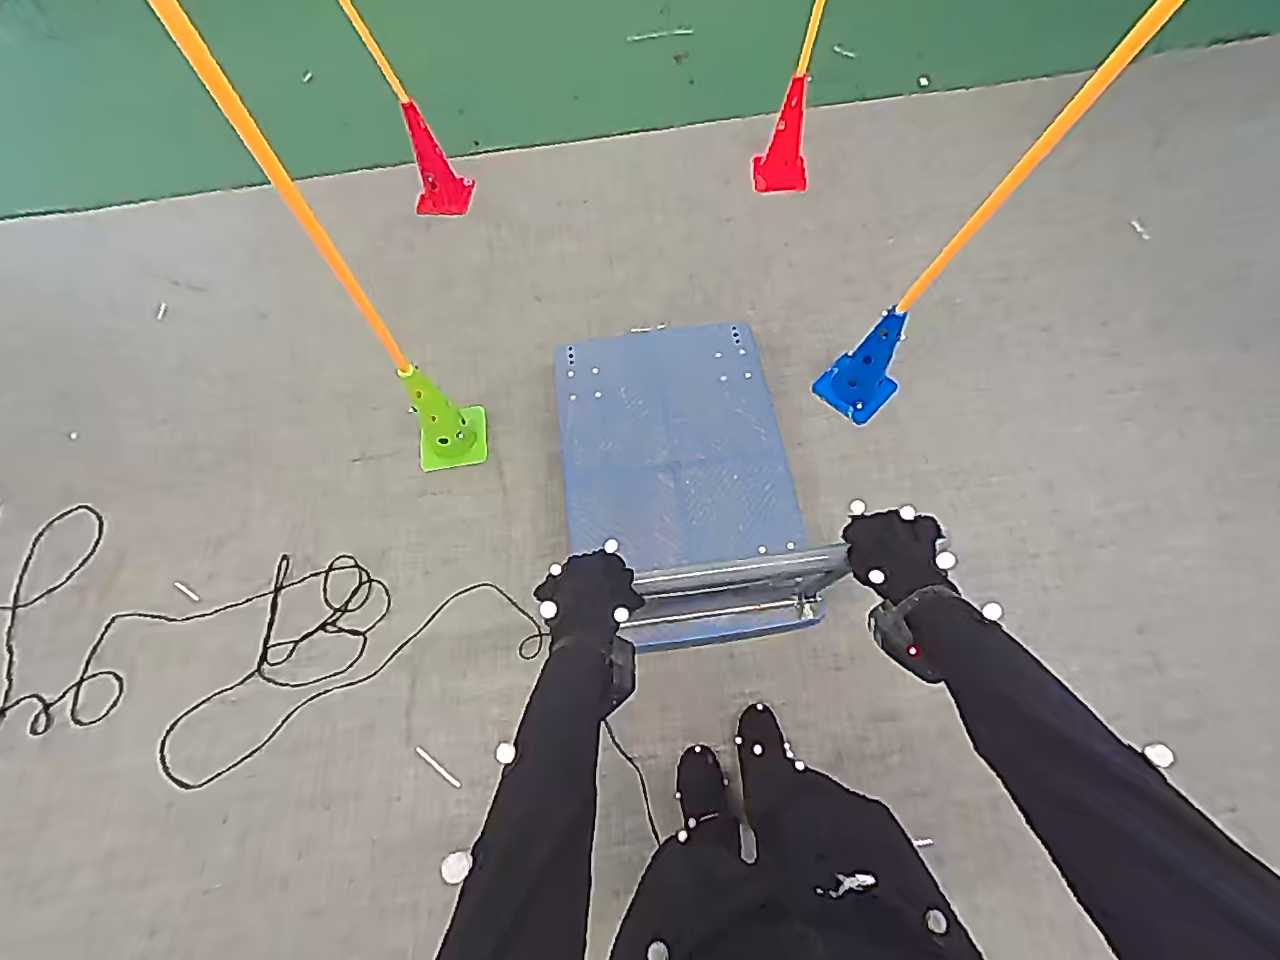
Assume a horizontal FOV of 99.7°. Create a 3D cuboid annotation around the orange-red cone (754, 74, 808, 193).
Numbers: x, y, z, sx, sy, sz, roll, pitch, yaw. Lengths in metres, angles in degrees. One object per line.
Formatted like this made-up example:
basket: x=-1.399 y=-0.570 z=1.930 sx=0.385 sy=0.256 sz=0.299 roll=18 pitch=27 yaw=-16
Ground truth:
orange-red cone: x=0.529 y=-1.235 z=1.914 sx=0.198 sy=0.360 sz=0.199 roll=1 pitch=67 yaw=4
